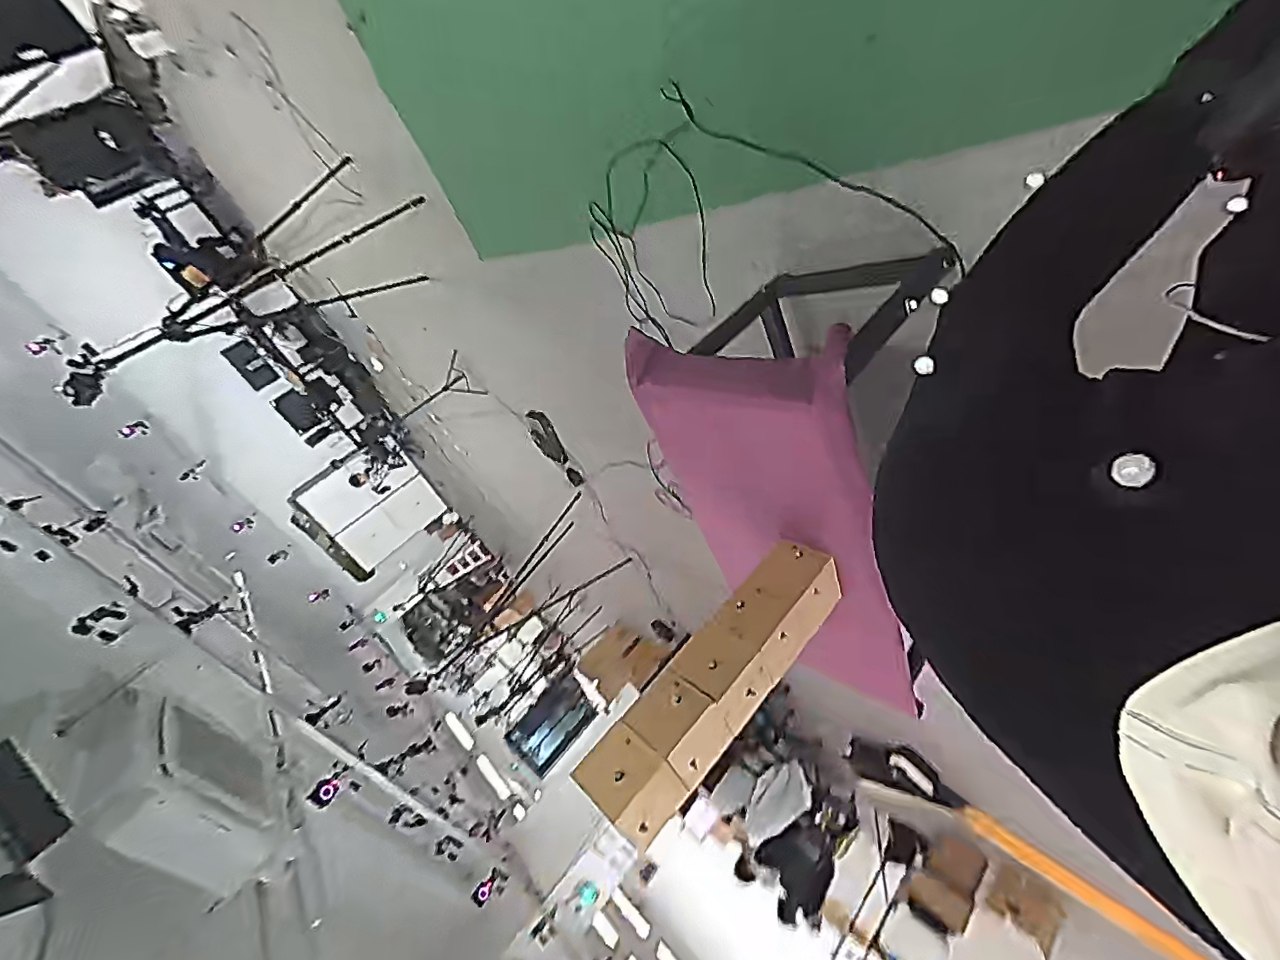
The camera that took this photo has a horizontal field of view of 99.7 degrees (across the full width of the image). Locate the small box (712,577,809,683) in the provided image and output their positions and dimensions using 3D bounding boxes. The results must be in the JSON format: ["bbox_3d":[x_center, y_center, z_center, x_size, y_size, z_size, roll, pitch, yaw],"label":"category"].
[{"bbox_3d":[0.321,0.387,1.421,0.168,0.176,0.179,21,145,46],"label":"small box"}]

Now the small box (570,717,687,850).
[{"bbox_3d":[-0.021,0.681,1.230,0.168,0.176,0.179,20,144,47],"label":"small box"}]

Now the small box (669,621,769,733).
[{"bbox_3d":[0.206,0.486,1.360,0.179,0.176,0.168,21,144,46],"label":"small box"}]

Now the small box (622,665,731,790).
[{"bbox_3d":[0.093,0.586,1.296,0.168,0.176,0.179,20,143,48],"label":"small box"}]
